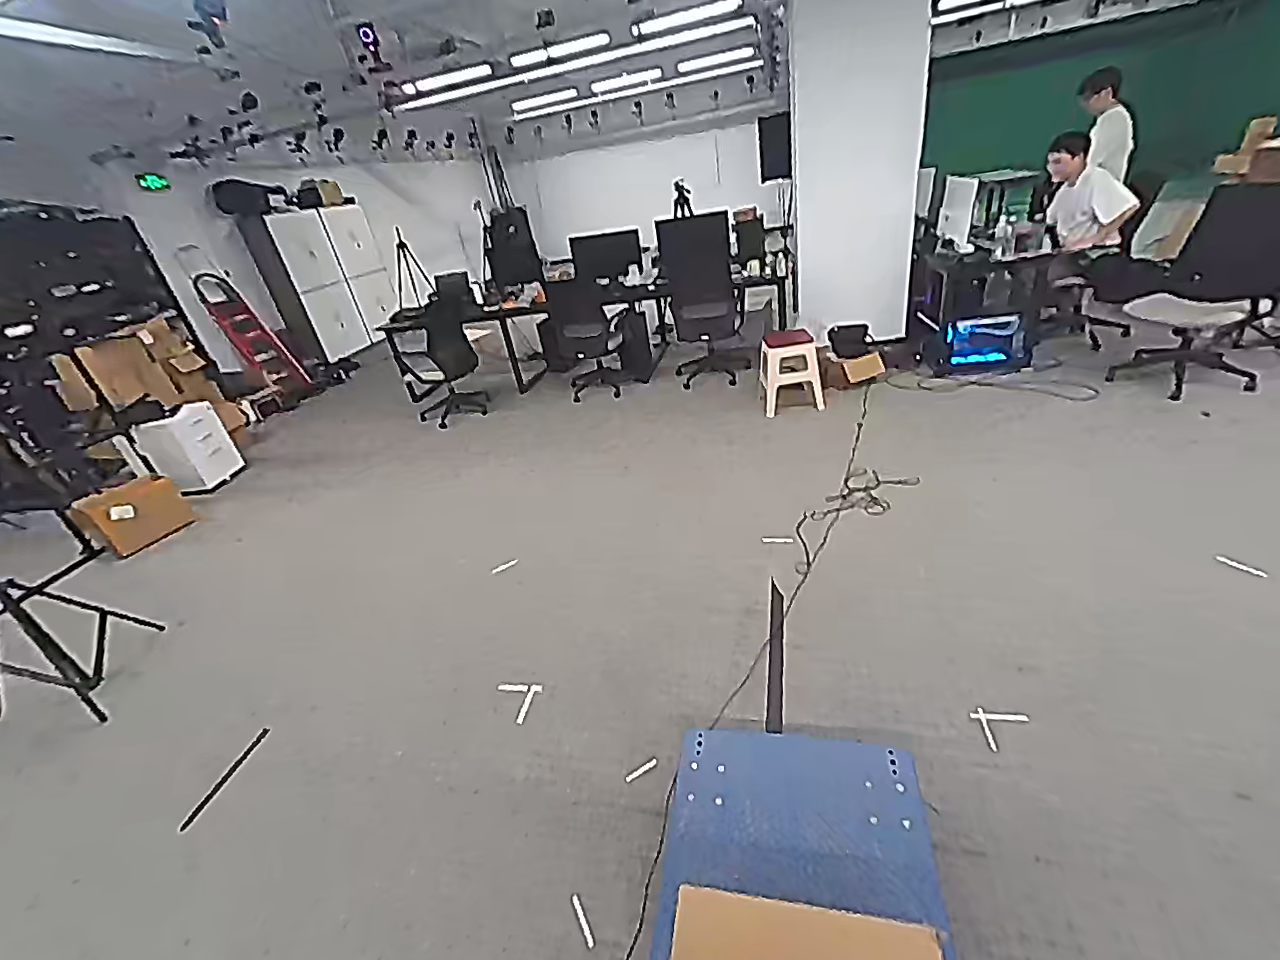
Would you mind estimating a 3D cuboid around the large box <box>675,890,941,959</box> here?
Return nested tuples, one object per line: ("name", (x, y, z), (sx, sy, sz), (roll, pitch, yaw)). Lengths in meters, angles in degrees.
("large box", (0.260, 0.911, 0.846), (0.408, 0.320, 0.320), (-2, 34, 14))
